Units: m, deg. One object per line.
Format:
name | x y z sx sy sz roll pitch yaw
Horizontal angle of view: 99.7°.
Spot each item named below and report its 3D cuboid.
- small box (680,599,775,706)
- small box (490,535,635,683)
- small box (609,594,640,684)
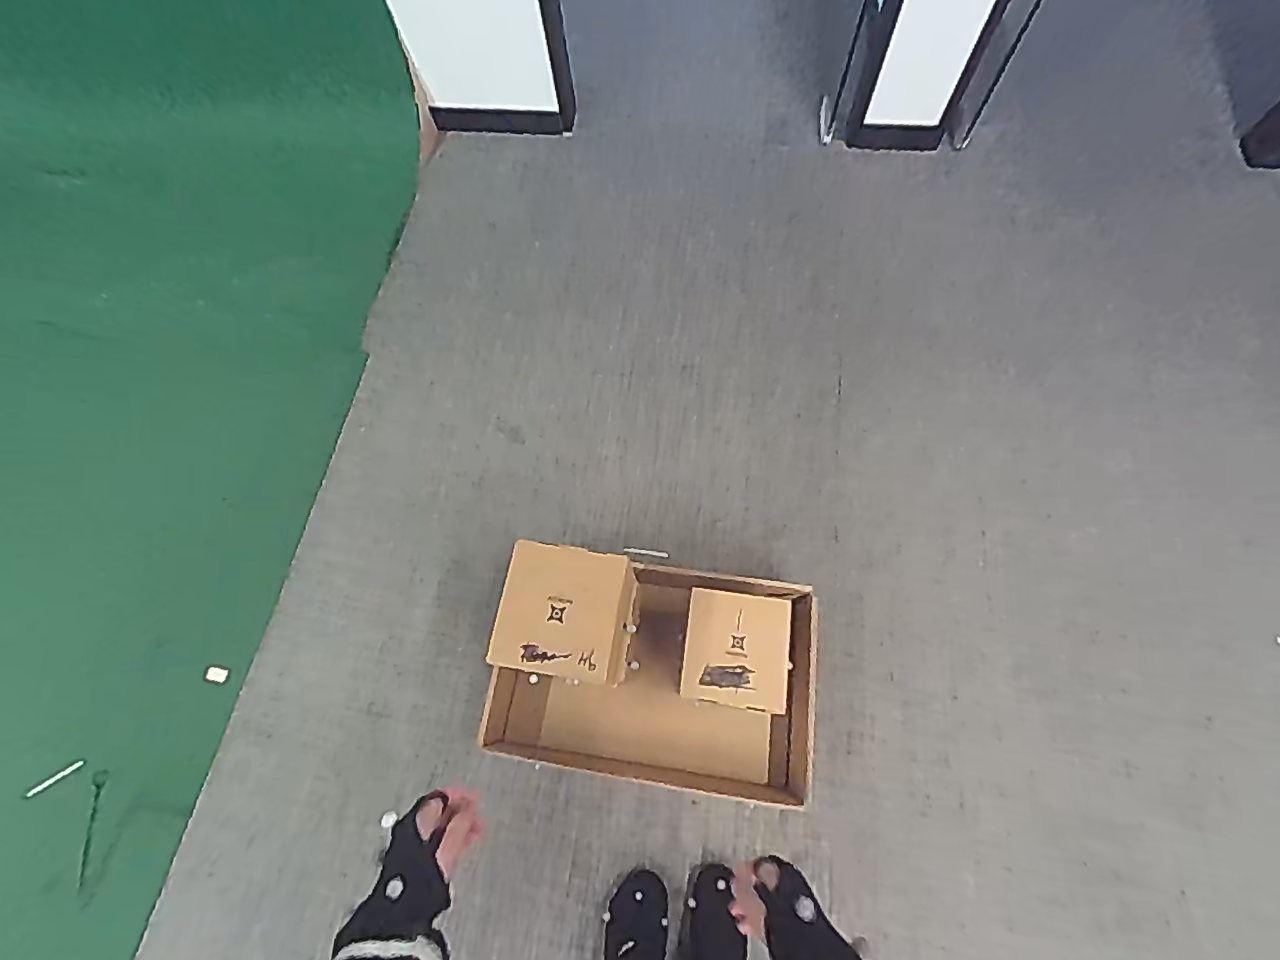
small box | 0.174 0.348 1.092 0.168 0.176 0.179 6 71 6
small box | -0.102 0.200 0.815 0.168 0.176 0.179 8 70 7
small box | -0.097 0.317 1.123 0.168 0.176 0.179 10 70 6
